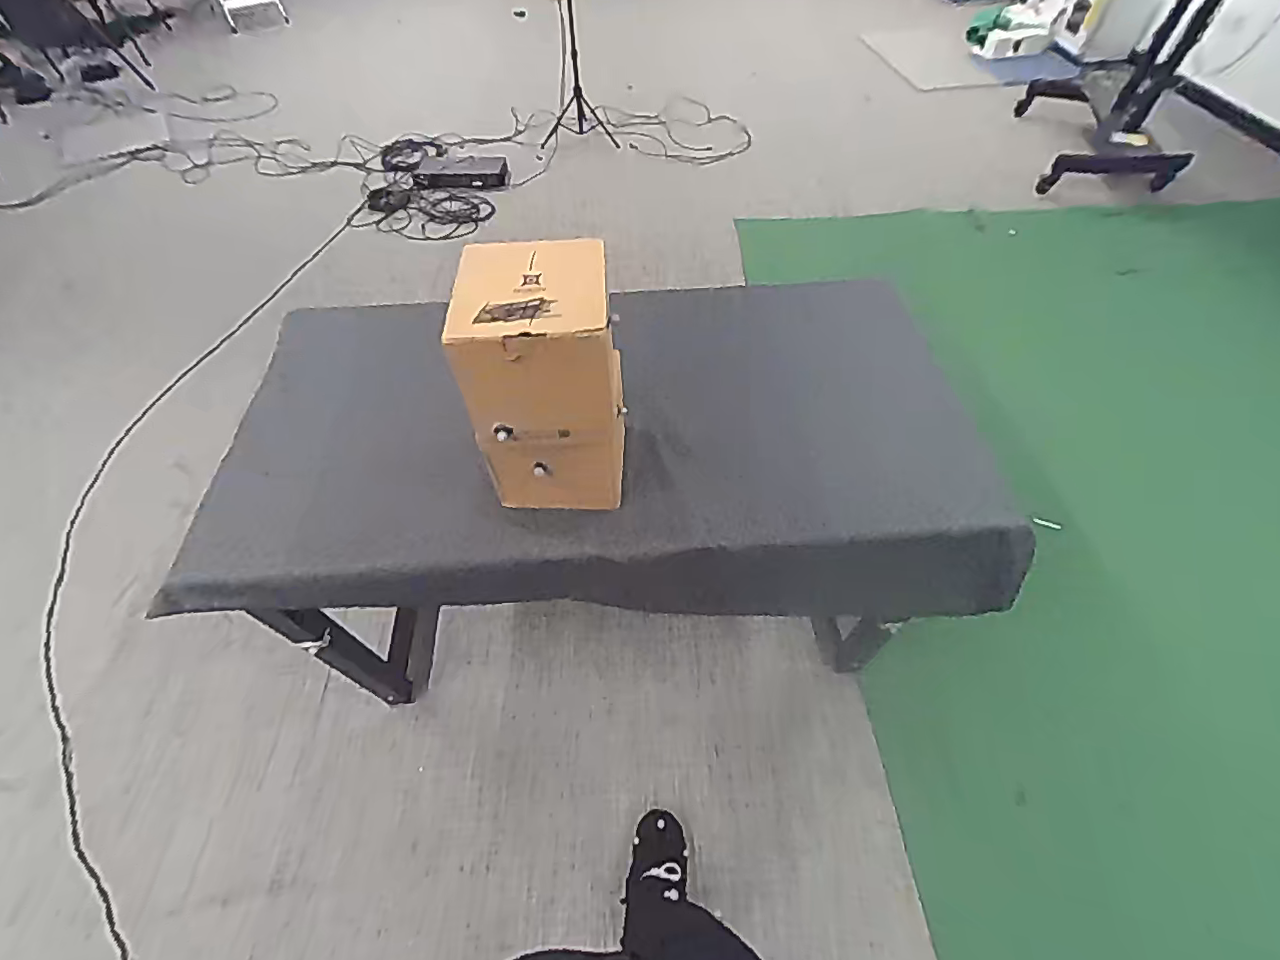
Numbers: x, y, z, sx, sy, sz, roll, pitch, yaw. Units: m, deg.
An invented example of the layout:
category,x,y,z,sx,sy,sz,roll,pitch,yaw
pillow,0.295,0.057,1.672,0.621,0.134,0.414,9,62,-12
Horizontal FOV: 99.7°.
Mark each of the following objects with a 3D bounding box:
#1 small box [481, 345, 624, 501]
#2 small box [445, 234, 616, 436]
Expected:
category,x,y,z,sx,sy,sz,roll,pitch,yaw
small box,-0.116,-0.080,0.800,0.179,0.176,0.168,-1,53,0
small box,-0.121,-0.166,0.656,0.168,0.176,0.179,-6,55,-2
